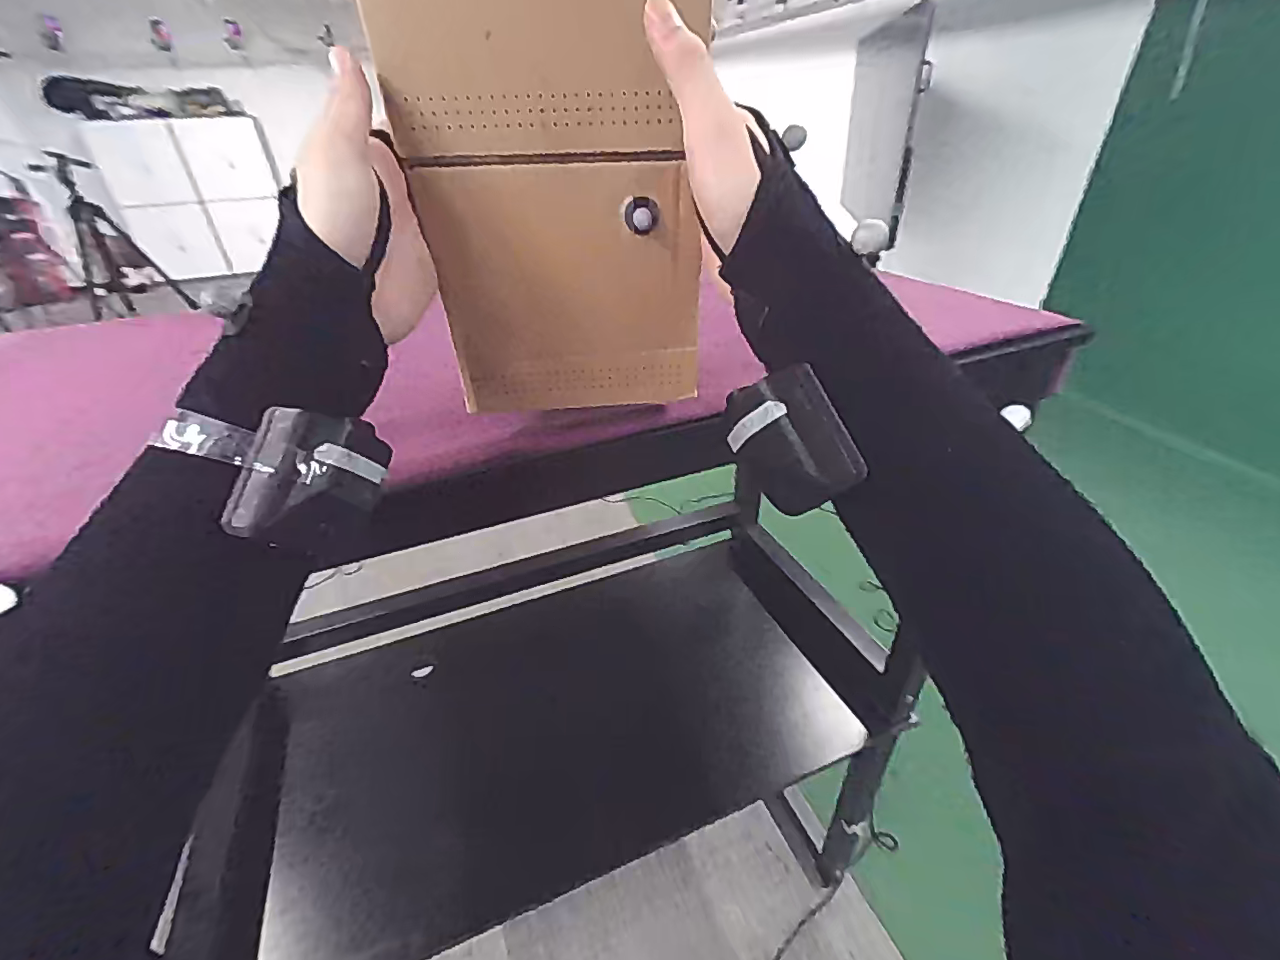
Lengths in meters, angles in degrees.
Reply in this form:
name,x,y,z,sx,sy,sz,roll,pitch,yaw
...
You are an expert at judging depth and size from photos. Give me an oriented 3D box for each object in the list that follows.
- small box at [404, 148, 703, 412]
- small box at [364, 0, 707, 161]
name,x,y,z,sx,sy,sz,roll,pitch,yaw
small box,-0.053,-0.164,0.420,0.179,0.176,0.168,-4,39,-4
small box,-0.056,-0.292,0.315,0.179,0.176,0.168,-3,40,-3
